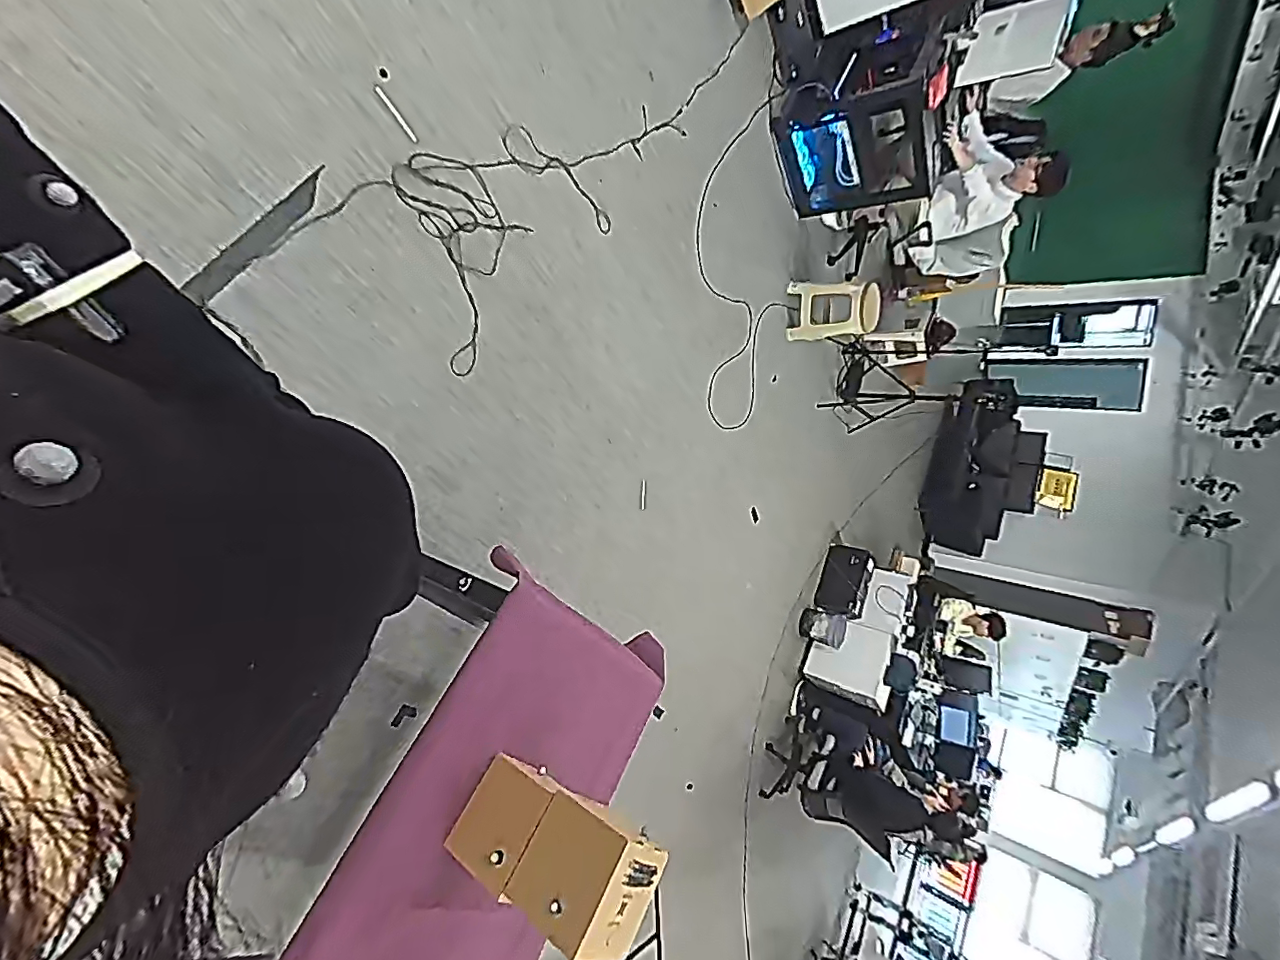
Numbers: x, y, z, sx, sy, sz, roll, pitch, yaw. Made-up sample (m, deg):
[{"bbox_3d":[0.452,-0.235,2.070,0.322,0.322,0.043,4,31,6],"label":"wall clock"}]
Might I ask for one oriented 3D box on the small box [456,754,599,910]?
[{"bbox_3d":[-0.217,0.658,1.020,0.179,0.176,0.168,-59,137,-24],"label":"small box"}]
